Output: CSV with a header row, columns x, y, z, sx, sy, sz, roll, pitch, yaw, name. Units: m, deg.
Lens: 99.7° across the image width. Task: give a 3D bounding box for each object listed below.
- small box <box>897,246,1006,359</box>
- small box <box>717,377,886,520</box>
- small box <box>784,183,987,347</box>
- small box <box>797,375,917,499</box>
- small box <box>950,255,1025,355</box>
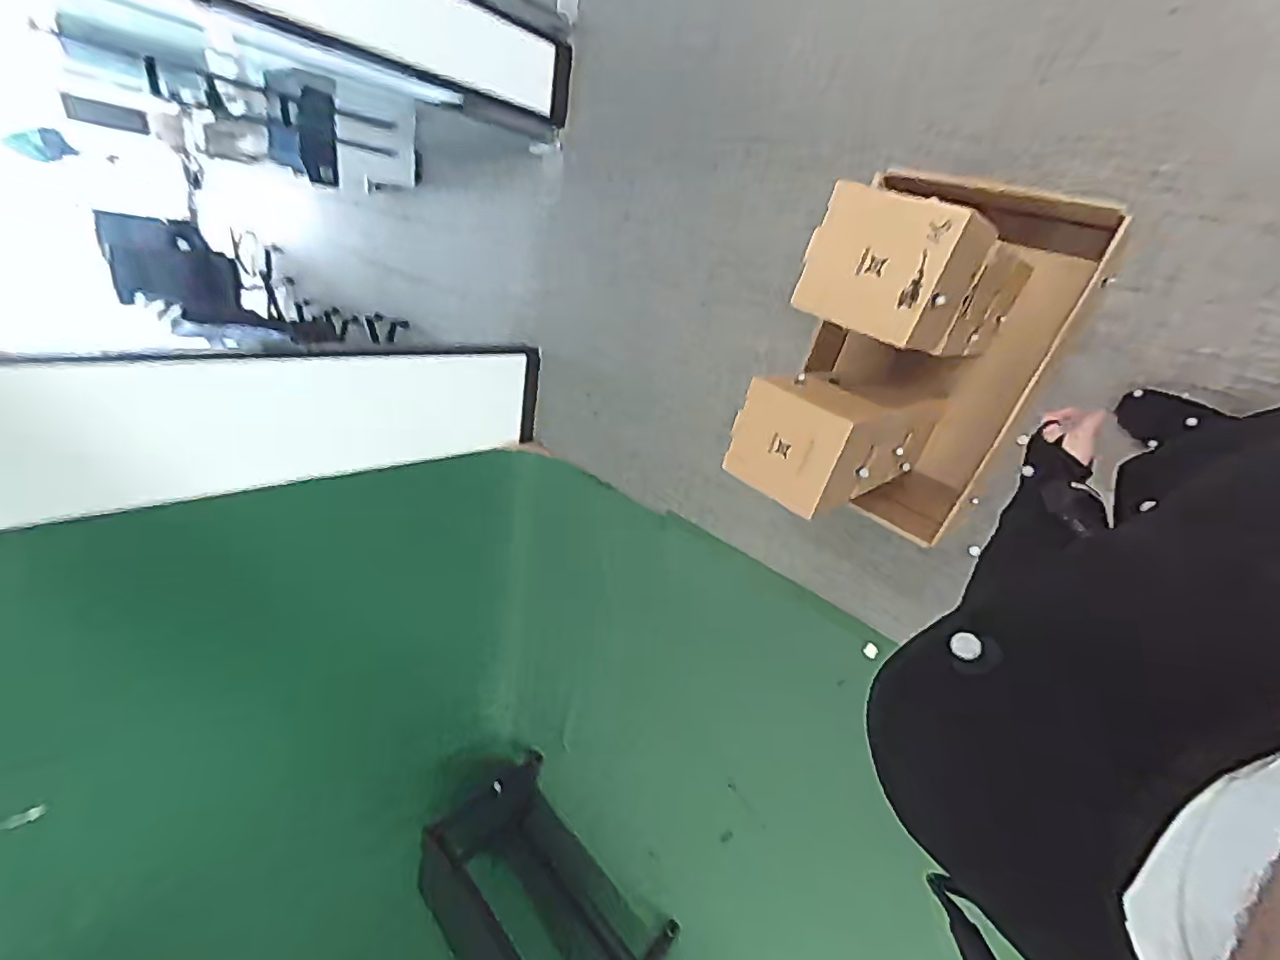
x,y,z,sx,sy,sz,roll,pitch,yaw,name
0.452,-0.308,0.874,0.179,0.176,0.168,36,122,32,small box
0.262,-0.061,0.881,0.179,0.176,0.168,35,123,33,small box
0.341,-0.291,0.754,0.179,0.176,0.168,35,122,32,small box
0.372,-0.088,0.999,0.179,0.176,0.168,33,122,33,small box
0.563,-0.336,0.992,0.179,0.176,0.168,34,122,31,small box
